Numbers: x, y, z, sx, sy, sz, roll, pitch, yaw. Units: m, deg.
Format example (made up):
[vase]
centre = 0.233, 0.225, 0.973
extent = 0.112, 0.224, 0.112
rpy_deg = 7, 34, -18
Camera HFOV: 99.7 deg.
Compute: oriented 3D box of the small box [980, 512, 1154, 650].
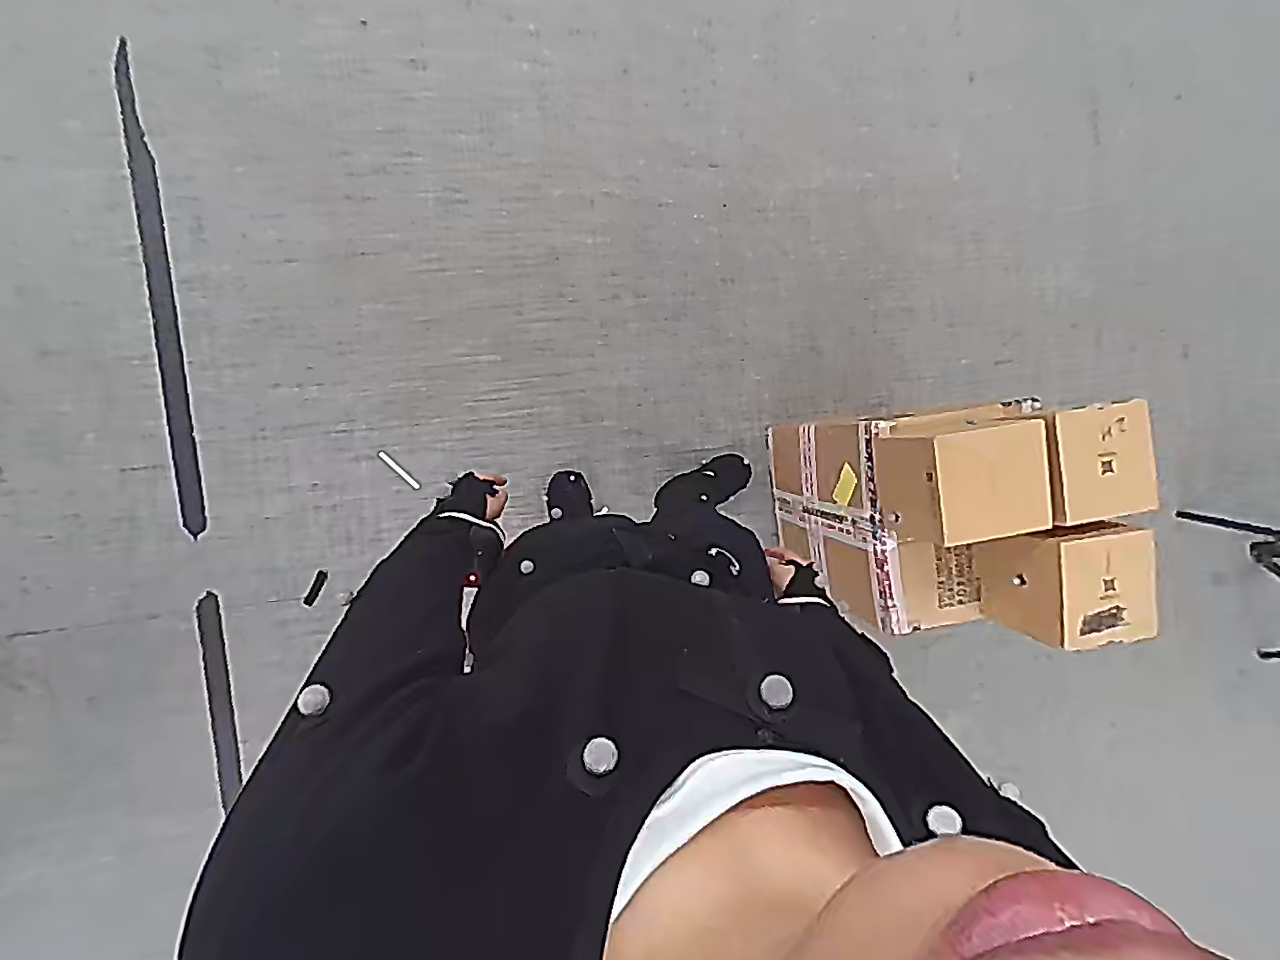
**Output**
[small box]
centre = 0.708, 0.161, 0.913
extent = 0.168, 0.176, 0.179
rpy_deg = -7, 96, -7
